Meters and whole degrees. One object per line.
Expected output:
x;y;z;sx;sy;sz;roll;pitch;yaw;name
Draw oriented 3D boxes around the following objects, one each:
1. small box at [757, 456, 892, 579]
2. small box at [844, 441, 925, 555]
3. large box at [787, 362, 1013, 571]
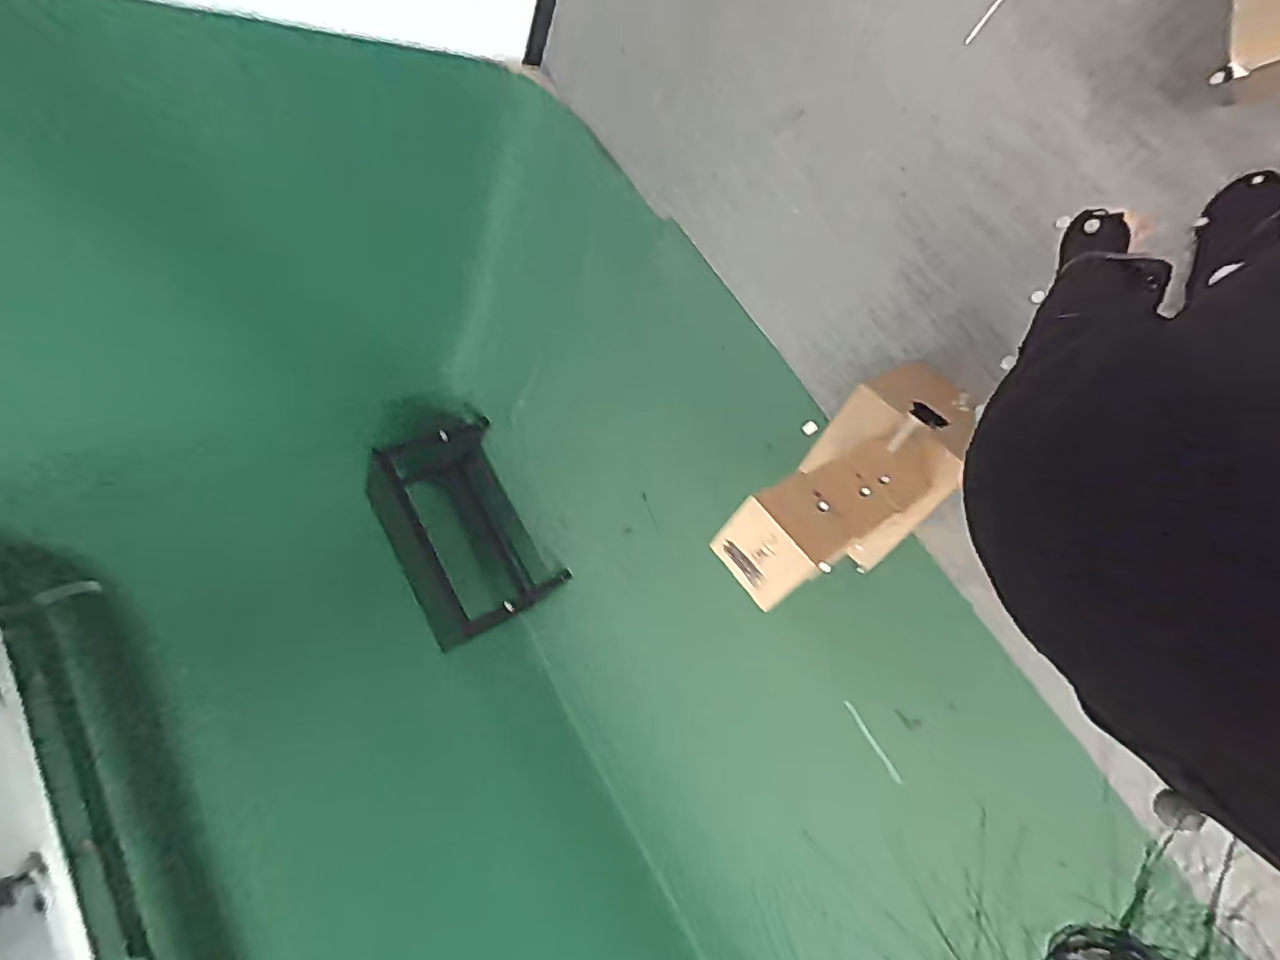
0.392;0.077;1.147;0.168;0.176;0.179;52;139;19;small box
0.513;0.036;1.247;0.179;0.176;0.168;51;139;20;small box
0.666;-0.042;1.427;0.320;0.320;0.408;48;140;25;large box
